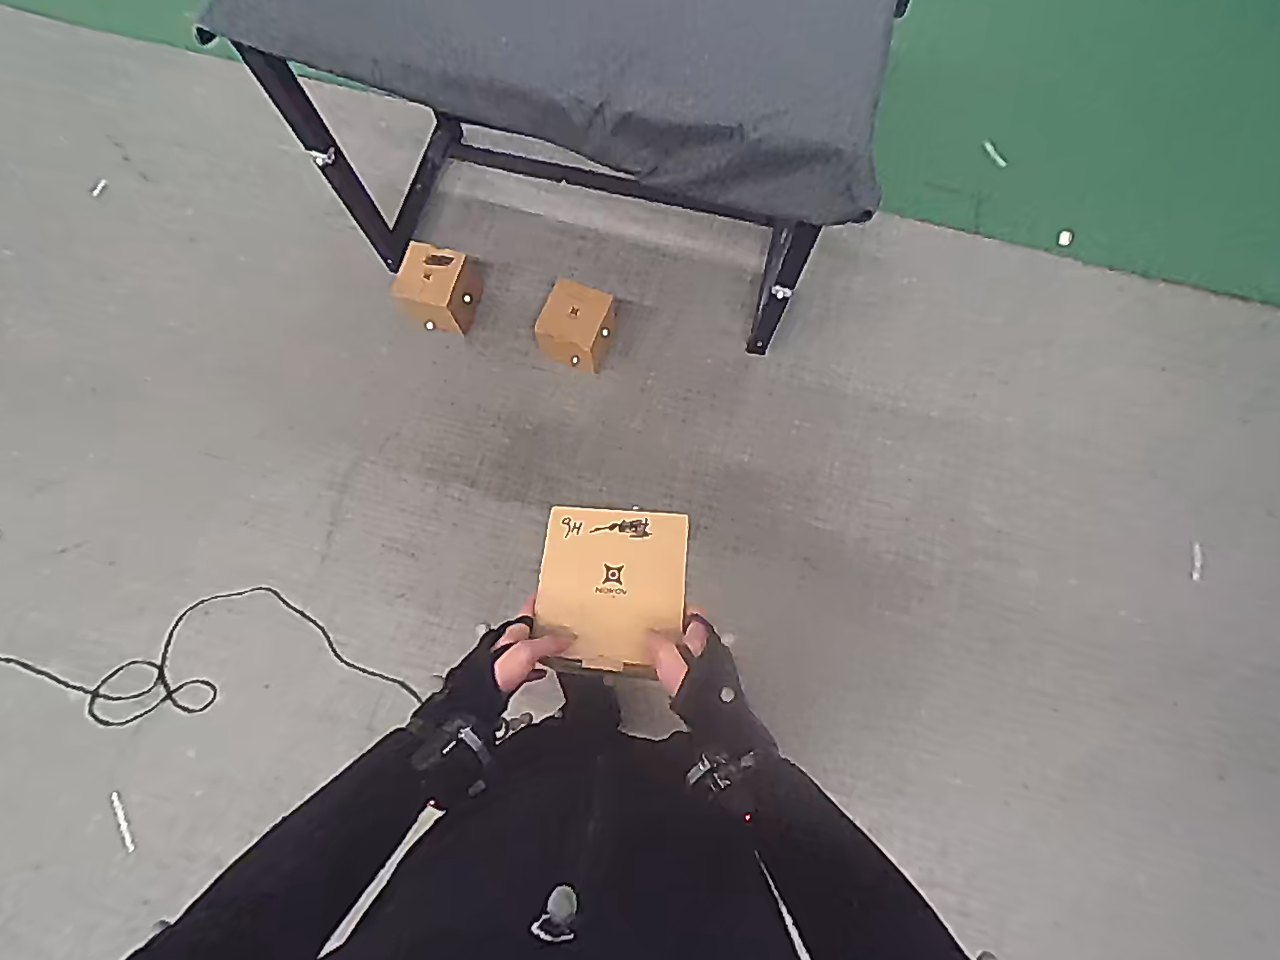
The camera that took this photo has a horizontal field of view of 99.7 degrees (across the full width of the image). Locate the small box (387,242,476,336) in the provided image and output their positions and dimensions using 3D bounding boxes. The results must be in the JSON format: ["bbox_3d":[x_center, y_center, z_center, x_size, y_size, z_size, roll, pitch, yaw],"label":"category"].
[{"bbox_3d":[-0.588,-0.543,1.552,0.168,0.176,0.179,13,77,3],"label":"small box"}]

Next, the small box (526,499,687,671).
[{"bbox_3d":[-0.028,0.136,0.667,0.168,0.176,0.179,3,68,4],"label":"small box"}]

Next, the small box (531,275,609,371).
[{"bbox_3d":[-0.188,-0.436,1.530,0.168,0.176,0.179,19,75,3],"label":"small box"}]
